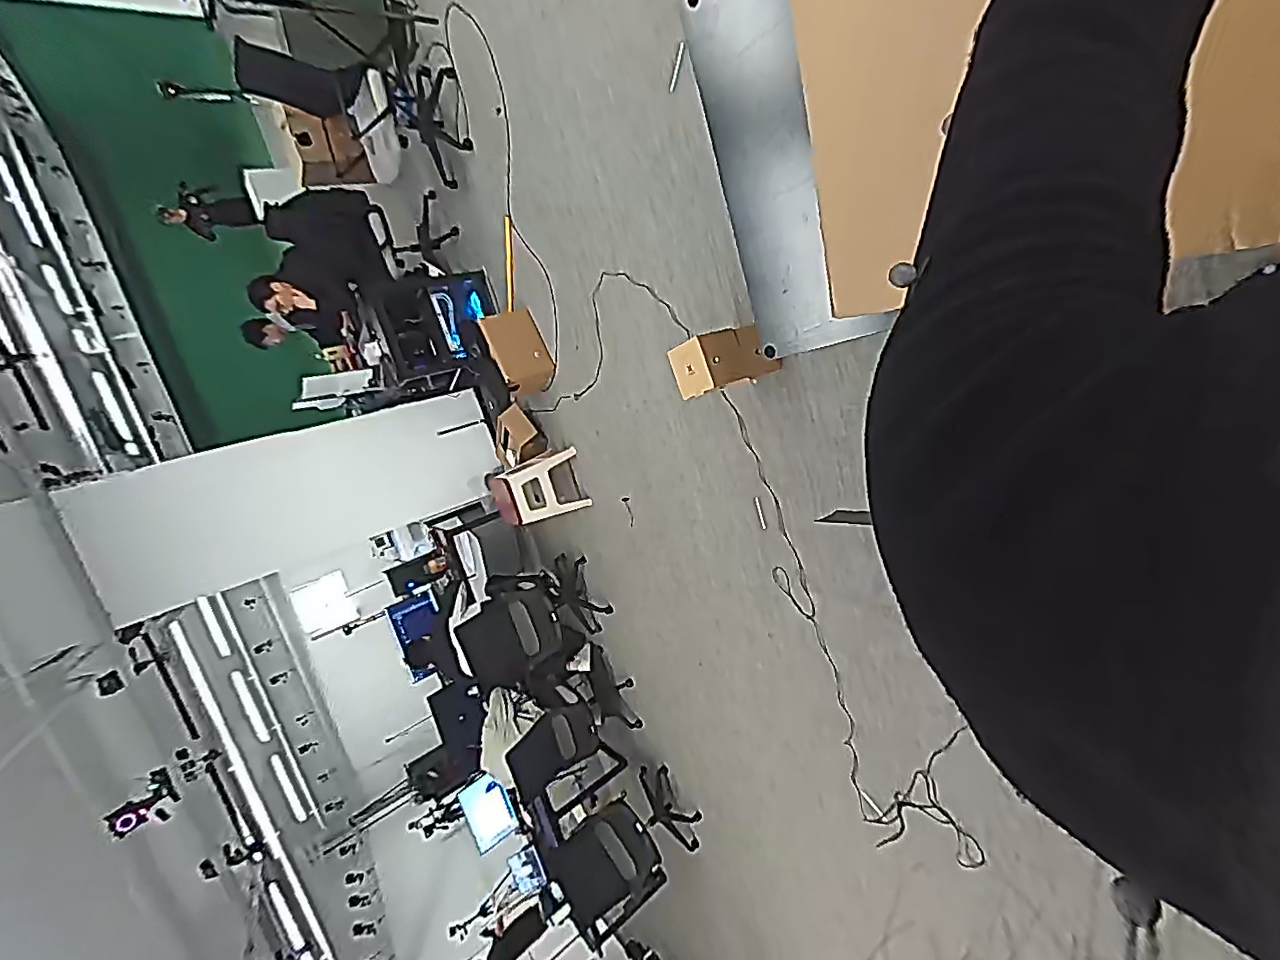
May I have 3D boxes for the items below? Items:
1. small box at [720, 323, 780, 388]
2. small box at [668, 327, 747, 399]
[{"bbox_3d":[0.358,-0.436,1.881,0.168,0.176,0.179,-8,103,57],"label":"small box"},{"bbox_3d":[0.228,-0.389,1.796,0.168,0.176,0.179,-14,96,57],"label":"small box"}]
